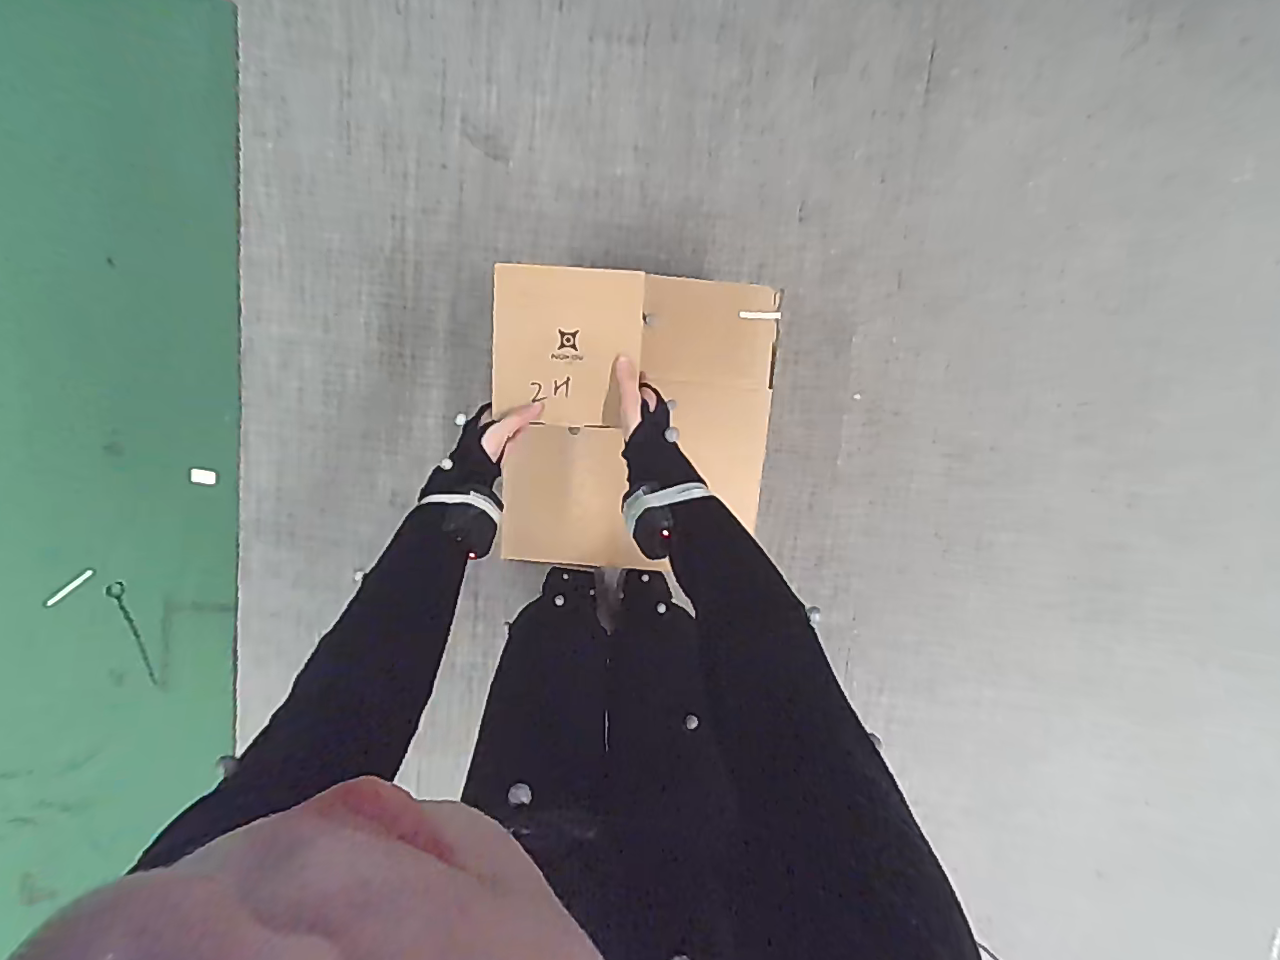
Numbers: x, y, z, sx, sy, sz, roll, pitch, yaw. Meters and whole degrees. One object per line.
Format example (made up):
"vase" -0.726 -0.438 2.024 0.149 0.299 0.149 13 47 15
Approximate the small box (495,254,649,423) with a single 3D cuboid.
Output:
"small box" -0.077 -0.166 0.677 0.168 0.176 0.179 3 98 0
